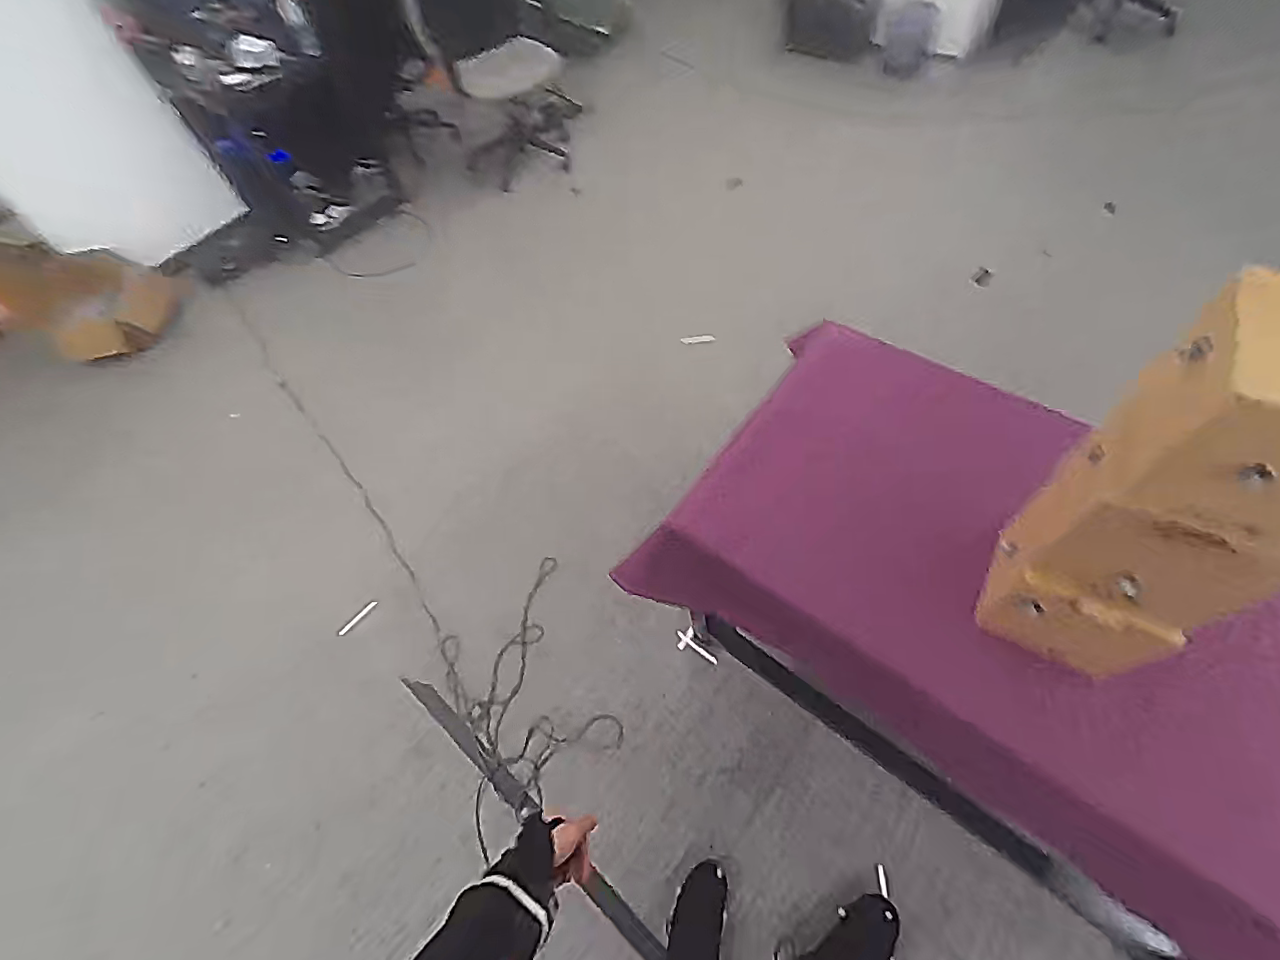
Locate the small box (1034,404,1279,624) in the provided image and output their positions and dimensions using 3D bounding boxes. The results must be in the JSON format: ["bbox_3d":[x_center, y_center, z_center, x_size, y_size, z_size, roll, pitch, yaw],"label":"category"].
[{"bbox_3d":[0.596,0.032,0.622,0.168,0.176,0.179,26,64,23],"label":"small box"}]

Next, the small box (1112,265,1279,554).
[{"bbox_3d":[0.574,-0.057,0.488,0.168,0.176,0.179,23,61,21],"label":"small box"}]
